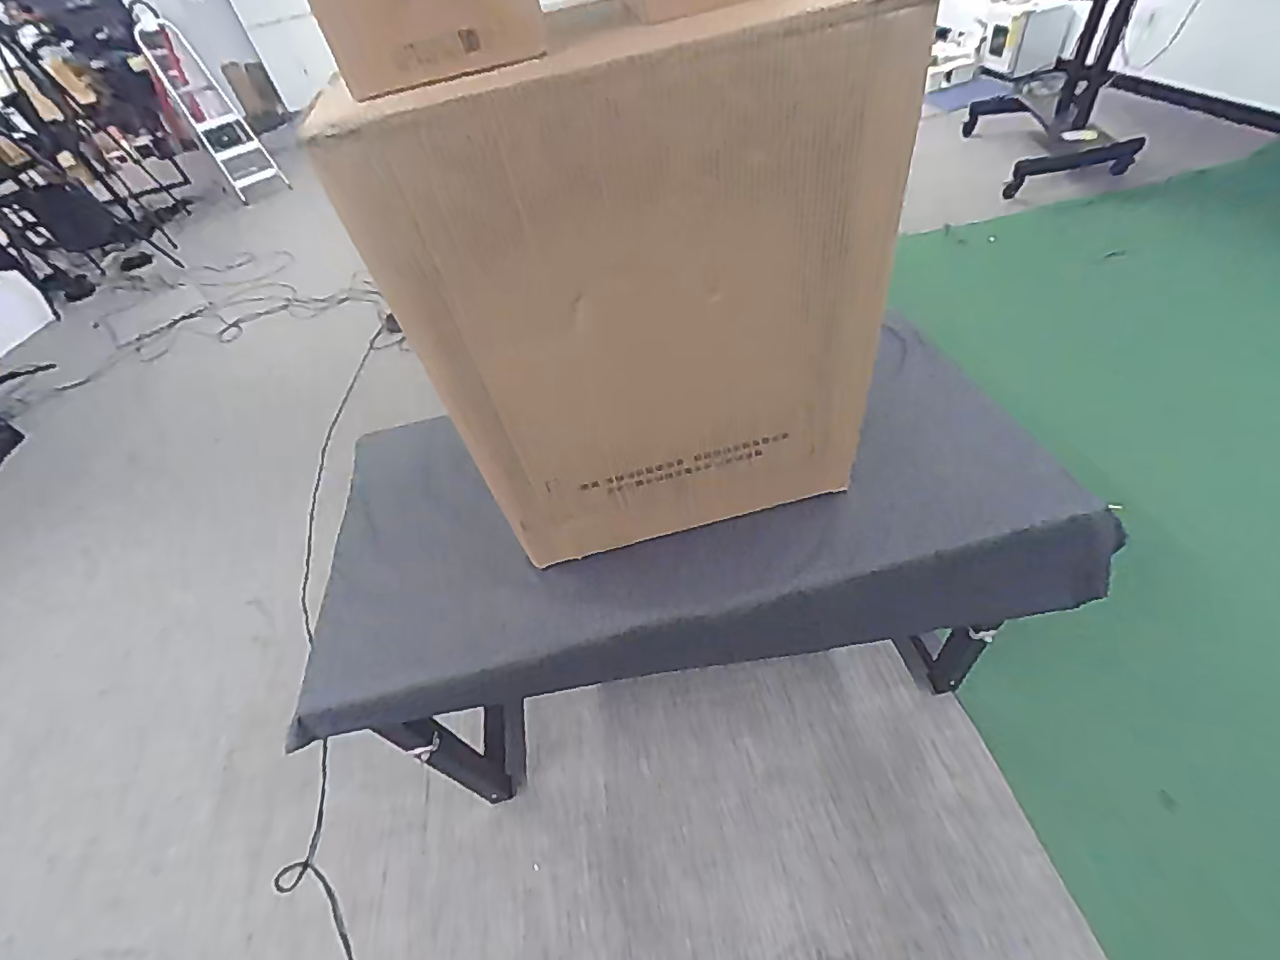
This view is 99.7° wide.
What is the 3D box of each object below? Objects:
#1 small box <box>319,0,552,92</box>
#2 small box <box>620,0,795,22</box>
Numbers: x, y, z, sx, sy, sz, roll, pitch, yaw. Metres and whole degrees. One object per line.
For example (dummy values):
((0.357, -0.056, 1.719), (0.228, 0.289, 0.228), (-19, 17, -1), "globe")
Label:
((-0.174, -0.438, 0.431), (0.168, 0.176, 0.179), (-14, 50, -1), "small box")
((0.060, -0.508, 0.450), (0.168, 0.176, 0.179), (-13, 48, -3), "small box")
